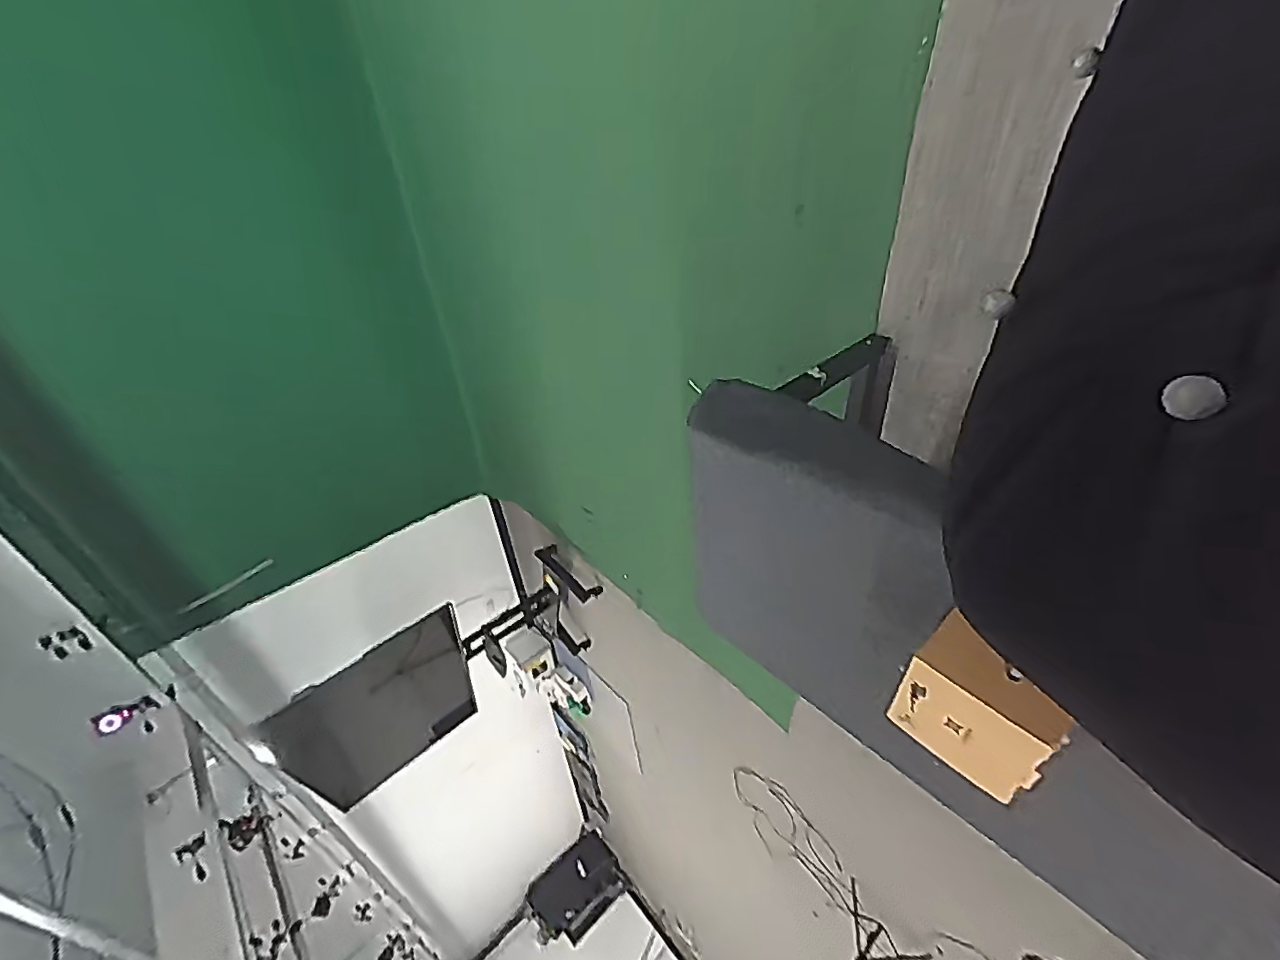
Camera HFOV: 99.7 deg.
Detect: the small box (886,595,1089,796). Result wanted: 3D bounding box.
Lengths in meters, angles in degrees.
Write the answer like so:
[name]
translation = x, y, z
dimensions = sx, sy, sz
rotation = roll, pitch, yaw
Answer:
[small box]
translation = 0.497, 0.301, 0.783
dimensions = 0.179, 0.176, 0.168
rotation = 34, 142, 37
